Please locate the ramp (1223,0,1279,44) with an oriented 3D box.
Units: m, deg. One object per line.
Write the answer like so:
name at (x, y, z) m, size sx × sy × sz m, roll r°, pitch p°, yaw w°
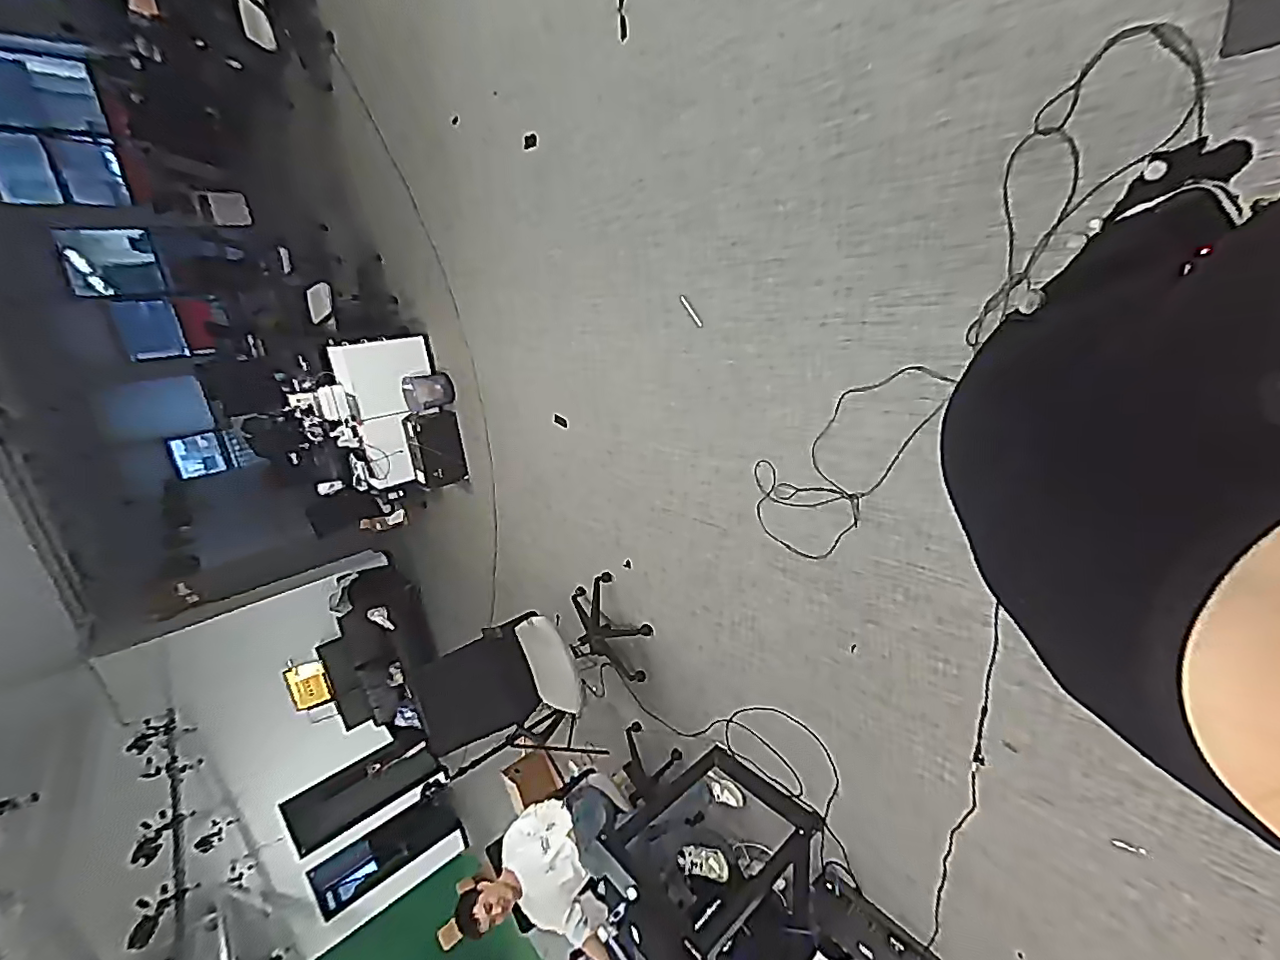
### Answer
ramp at (1.035, -1.130, 0.533) m, size 0.509 × 0.206 × 0.991 m, roll 13°, pitch 117°, yaw 47°
